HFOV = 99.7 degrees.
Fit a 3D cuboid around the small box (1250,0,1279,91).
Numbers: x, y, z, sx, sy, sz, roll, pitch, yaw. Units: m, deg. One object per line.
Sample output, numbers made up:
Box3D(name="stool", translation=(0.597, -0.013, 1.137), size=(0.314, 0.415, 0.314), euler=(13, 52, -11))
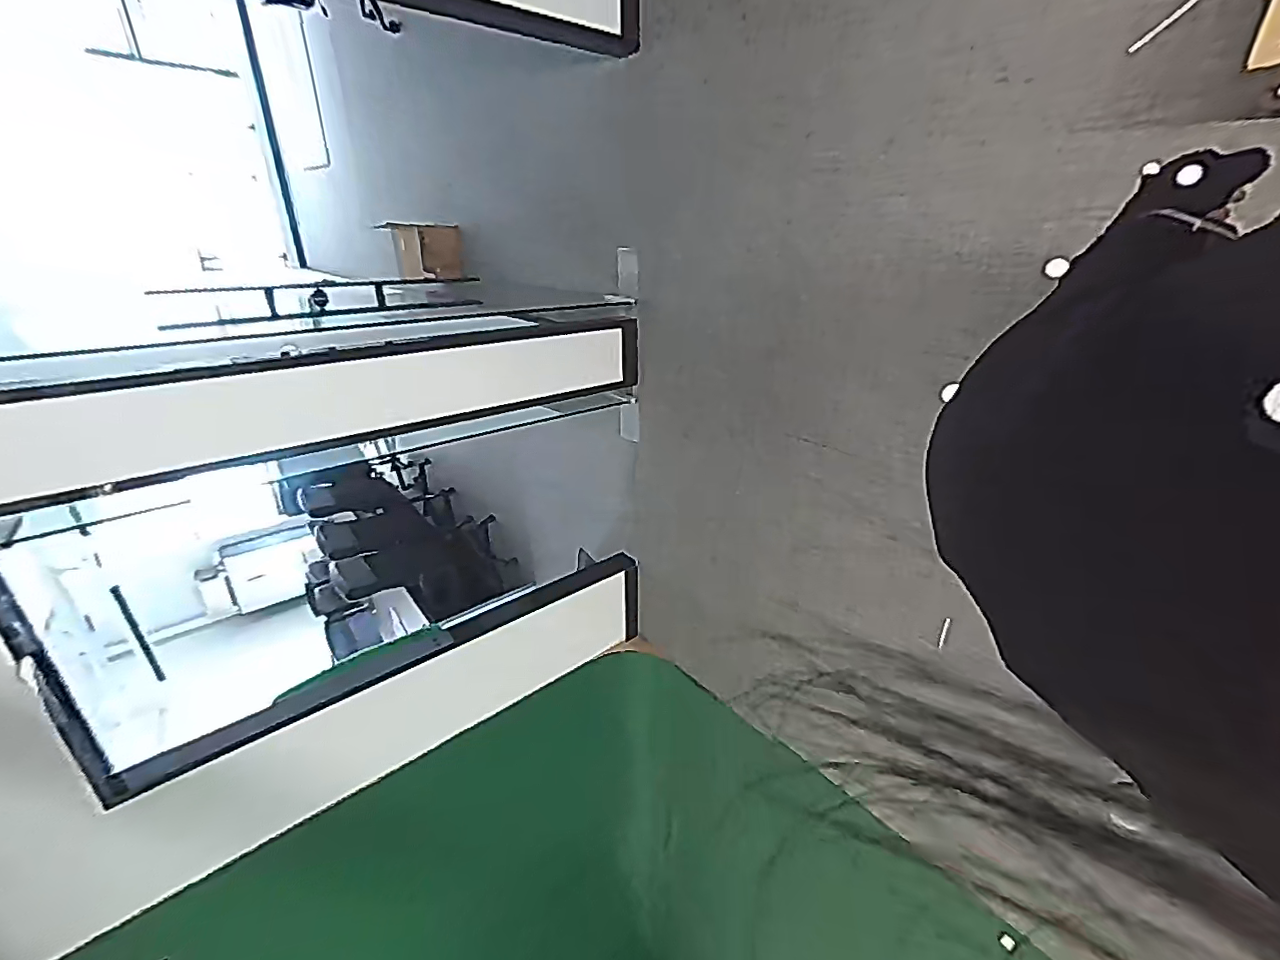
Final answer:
Box3D(name="small box", translation=(0.924, -0.605, 0.671), size=(0.168, 0.176, 0.179), euler=(27, 124, 45))
